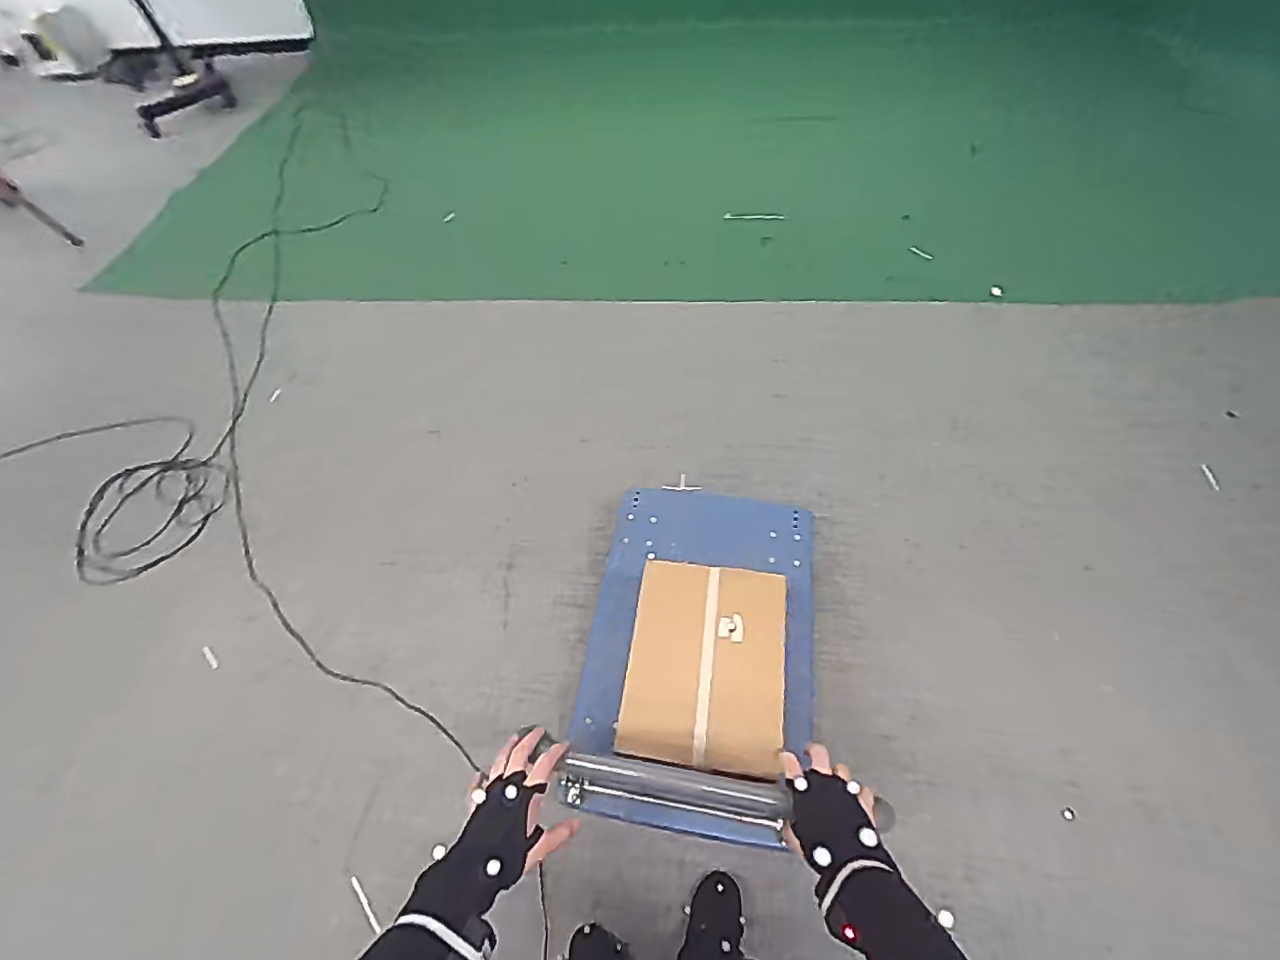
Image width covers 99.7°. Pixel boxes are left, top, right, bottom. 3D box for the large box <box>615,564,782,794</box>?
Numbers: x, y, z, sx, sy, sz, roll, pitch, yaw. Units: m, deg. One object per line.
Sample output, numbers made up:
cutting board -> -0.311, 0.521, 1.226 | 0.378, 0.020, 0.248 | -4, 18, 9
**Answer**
large box -> 0.139, 0.453, 1.224 | 0.320, 0.320, 0.408 | 6, 56, 7
